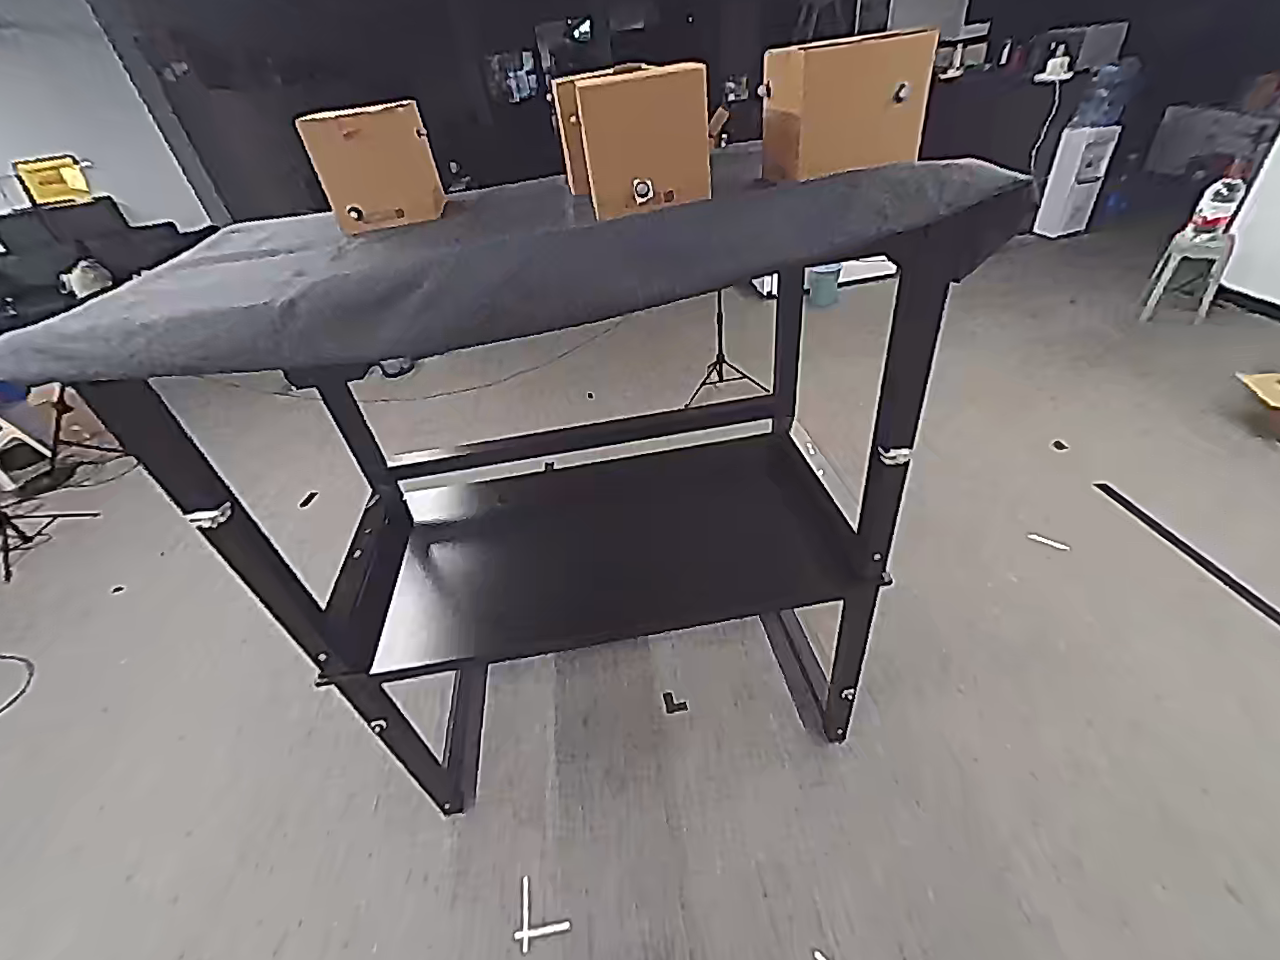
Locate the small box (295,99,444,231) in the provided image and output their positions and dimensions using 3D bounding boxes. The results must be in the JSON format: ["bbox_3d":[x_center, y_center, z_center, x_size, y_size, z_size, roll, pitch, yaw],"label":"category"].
[{"bbox_3d":[-0.454,-0.545,0.941,0.168,0.176,0.179,-12,38,-5],"label":"small box"}]

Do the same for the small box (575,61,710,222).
[{"bbox_3d":[0.002,-0.484,0.779,0.168,0.176,0.179,-10,37,0],"label":"small box"}]

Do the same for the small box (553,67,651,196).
[{"bbox_3d":[-0.054,-0.624,0.967,0.179,0.176,0.168,-10,38,-3],"label":"small box"}]
